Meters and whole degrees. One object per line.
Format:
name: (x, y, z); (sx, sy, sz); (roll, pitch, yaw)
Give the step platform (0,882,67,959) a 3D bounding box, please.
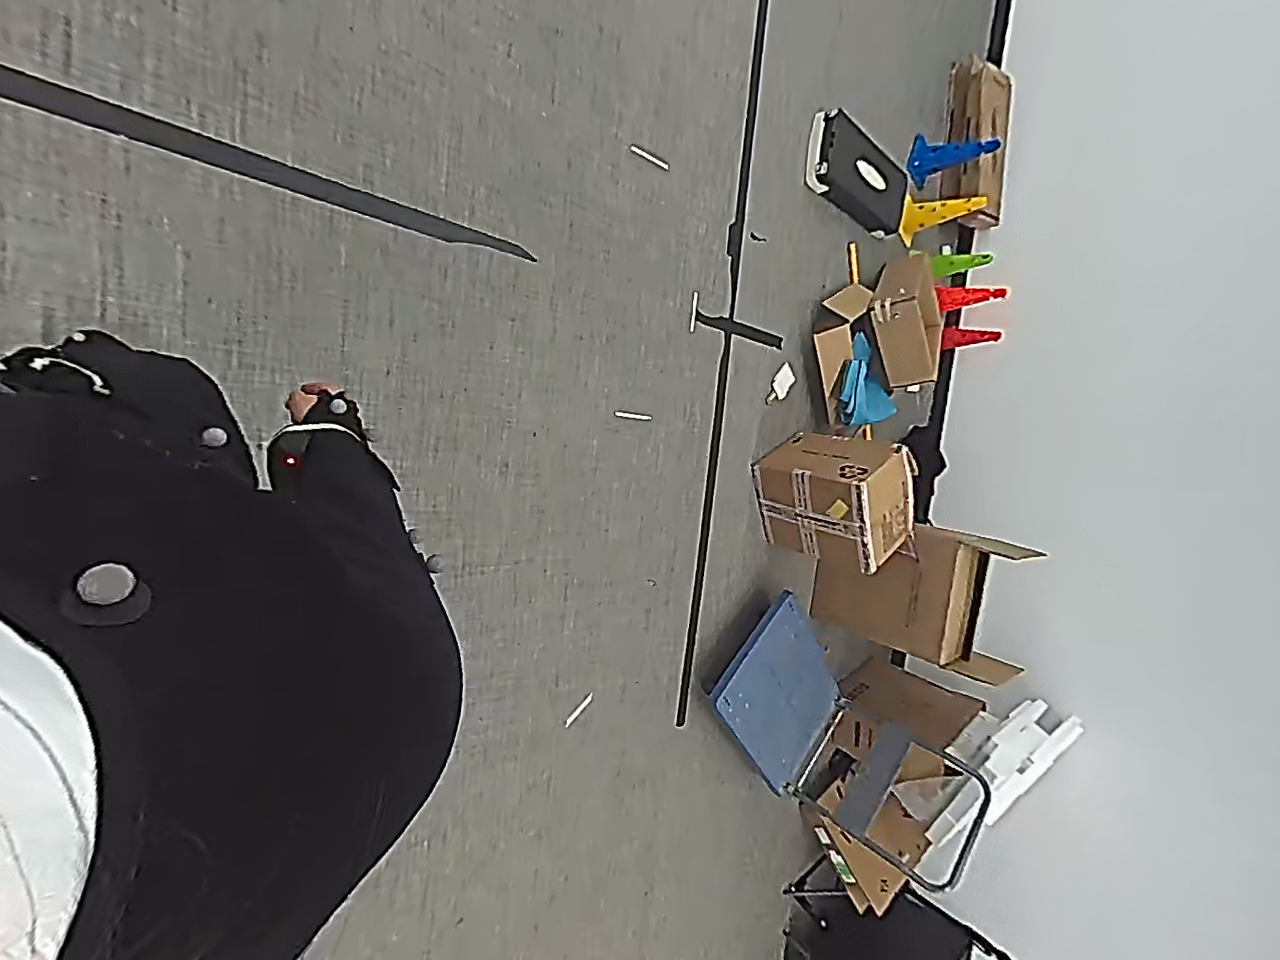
step platform: (-1.317, 0.899, 0.765); (0.684, 0.204, 0.286); (1, 98, -42)
